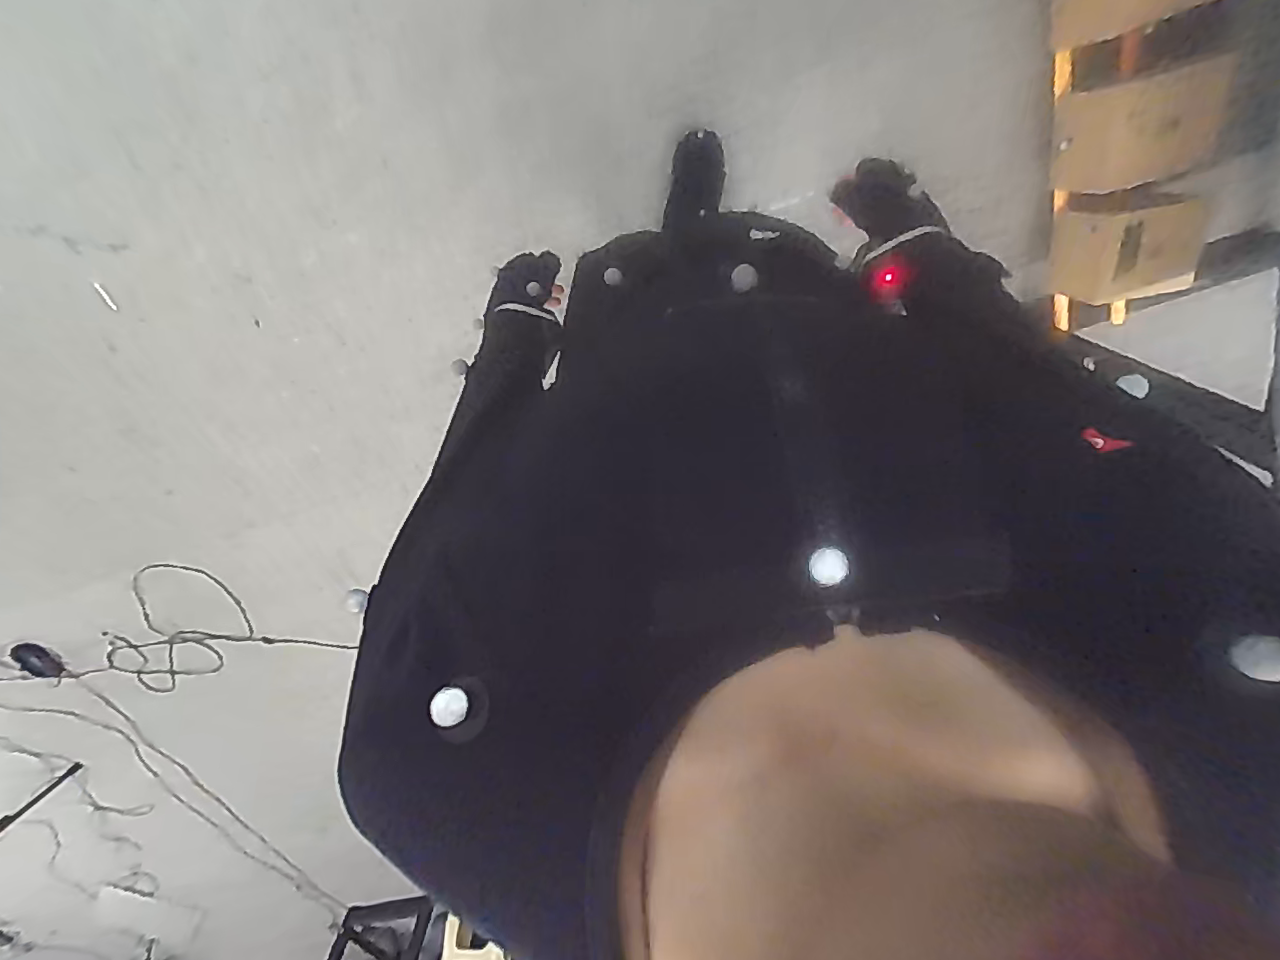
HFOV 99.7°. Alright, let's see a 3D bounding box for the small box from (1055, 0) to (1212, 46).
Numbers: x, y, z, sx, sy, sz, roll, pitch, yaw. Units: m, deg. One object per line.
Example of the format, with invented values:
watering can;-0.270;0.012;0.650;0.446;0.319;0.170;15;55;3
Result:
small box;0.818;-0.838;0.870;0.179;0.176;0.168;-14;120;13
